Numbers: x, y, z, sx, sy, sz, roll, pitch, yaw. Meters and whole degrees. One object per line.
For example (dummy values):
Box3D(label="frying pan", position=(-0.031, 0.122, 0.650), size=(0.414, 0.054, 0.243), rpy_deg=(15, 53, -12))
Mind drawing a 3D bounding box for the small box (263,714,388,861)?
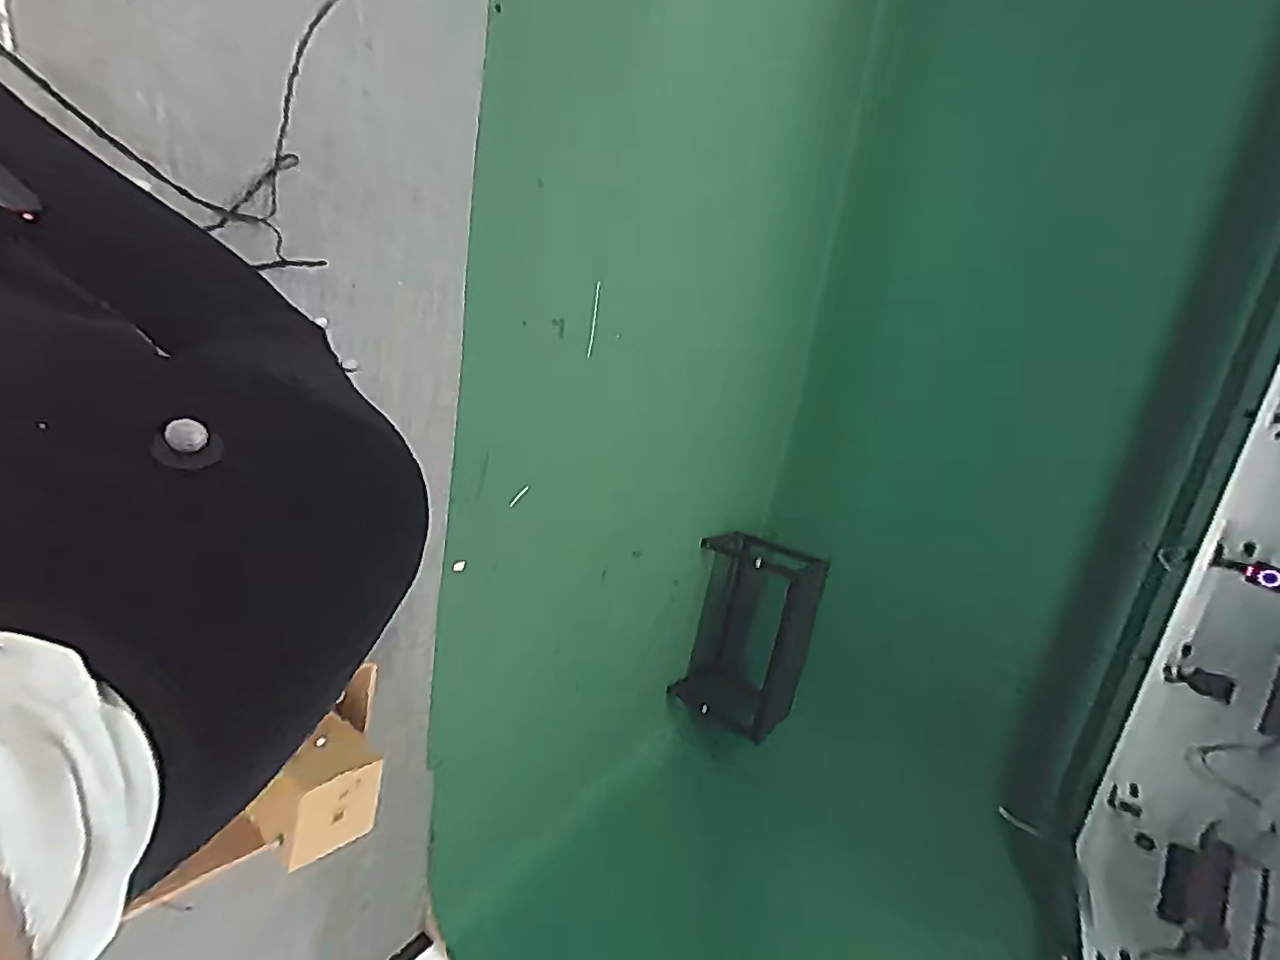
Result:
Box3D(label="small box", position=(-0.664, 0.634, 1.138), size=(0.168, 0.176, 0.179), rpy_deg=(2, 104, -55))
